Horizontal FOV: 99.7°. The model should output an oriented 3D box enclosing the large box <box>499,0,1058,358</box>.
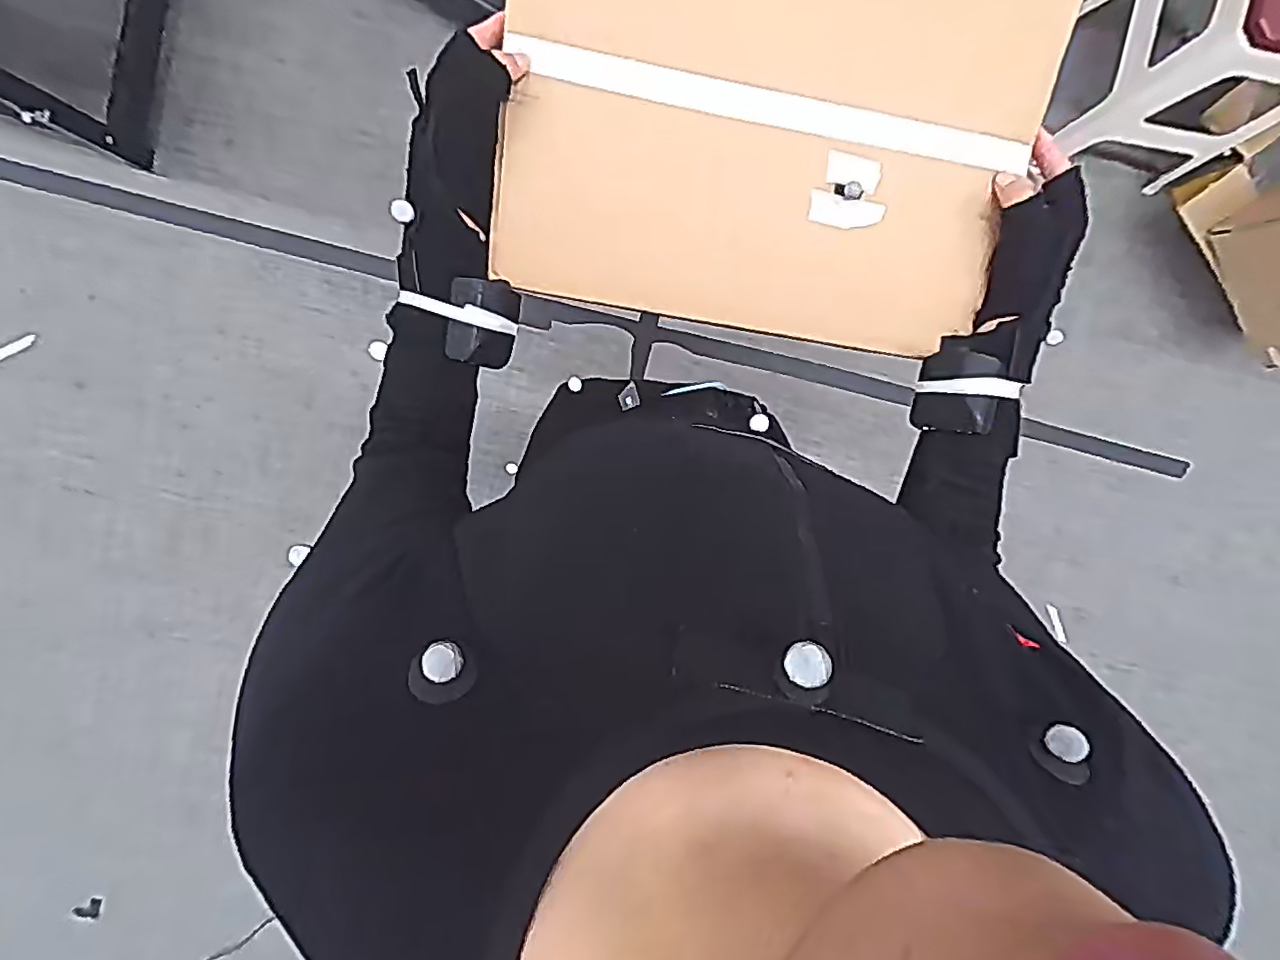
[{"bbox_3d":[0.089,-0.322,0.559,0.408,0.320,0.320,8,109,-7],"label":"large box"}]
